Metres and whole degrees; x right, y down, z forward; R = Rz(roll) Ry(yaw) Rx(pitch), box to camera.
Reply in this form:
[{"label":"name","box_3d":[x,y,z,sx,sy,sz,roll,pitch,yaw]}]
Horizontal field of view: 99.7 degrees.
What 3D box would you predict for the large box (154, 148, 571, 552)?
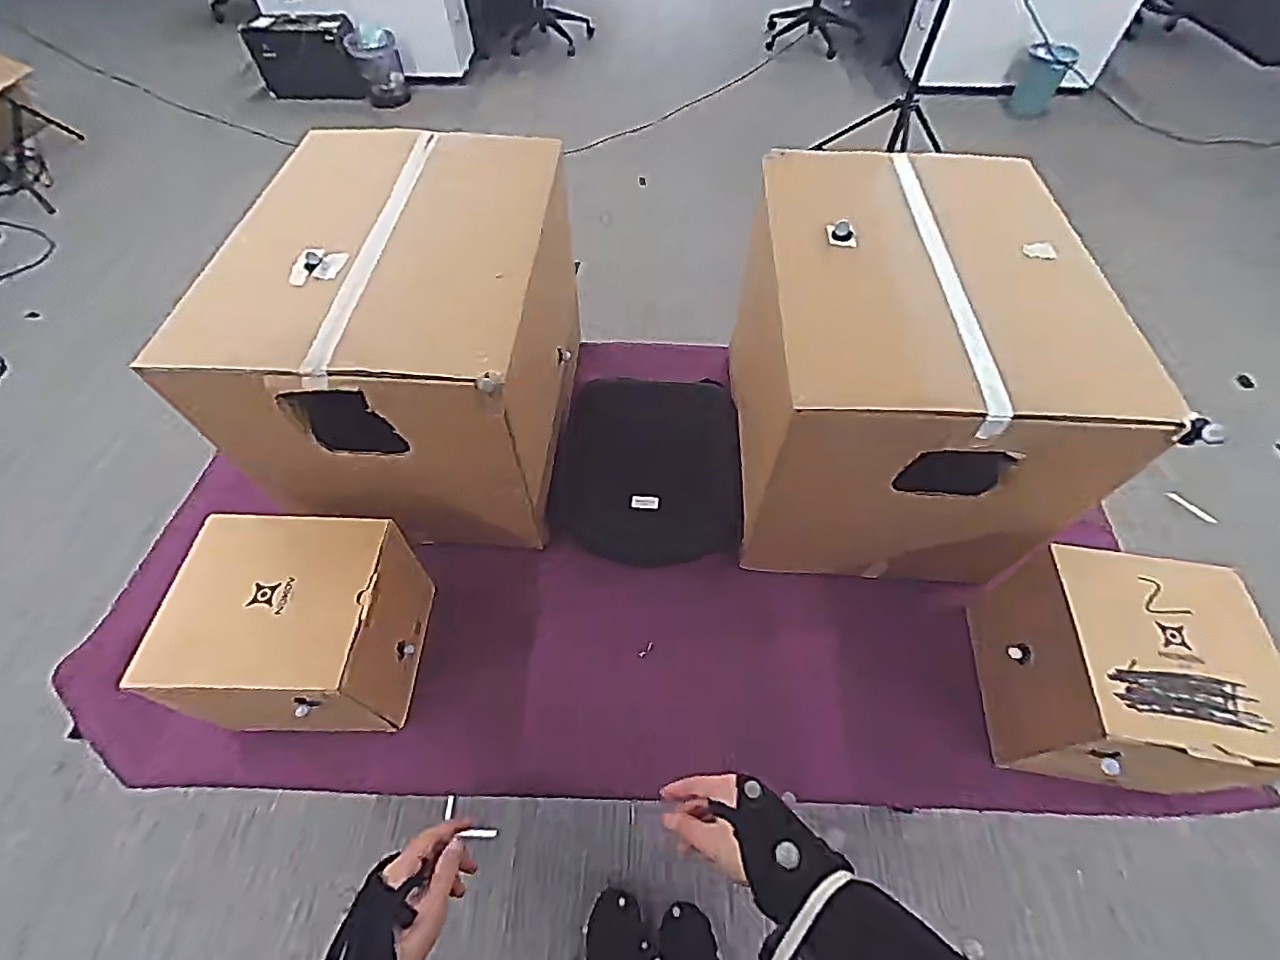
[{"label":"large box","box_3d":[-0.265,-0.156,0.691,0.320,0.320,0.408,2,58,1]}]
